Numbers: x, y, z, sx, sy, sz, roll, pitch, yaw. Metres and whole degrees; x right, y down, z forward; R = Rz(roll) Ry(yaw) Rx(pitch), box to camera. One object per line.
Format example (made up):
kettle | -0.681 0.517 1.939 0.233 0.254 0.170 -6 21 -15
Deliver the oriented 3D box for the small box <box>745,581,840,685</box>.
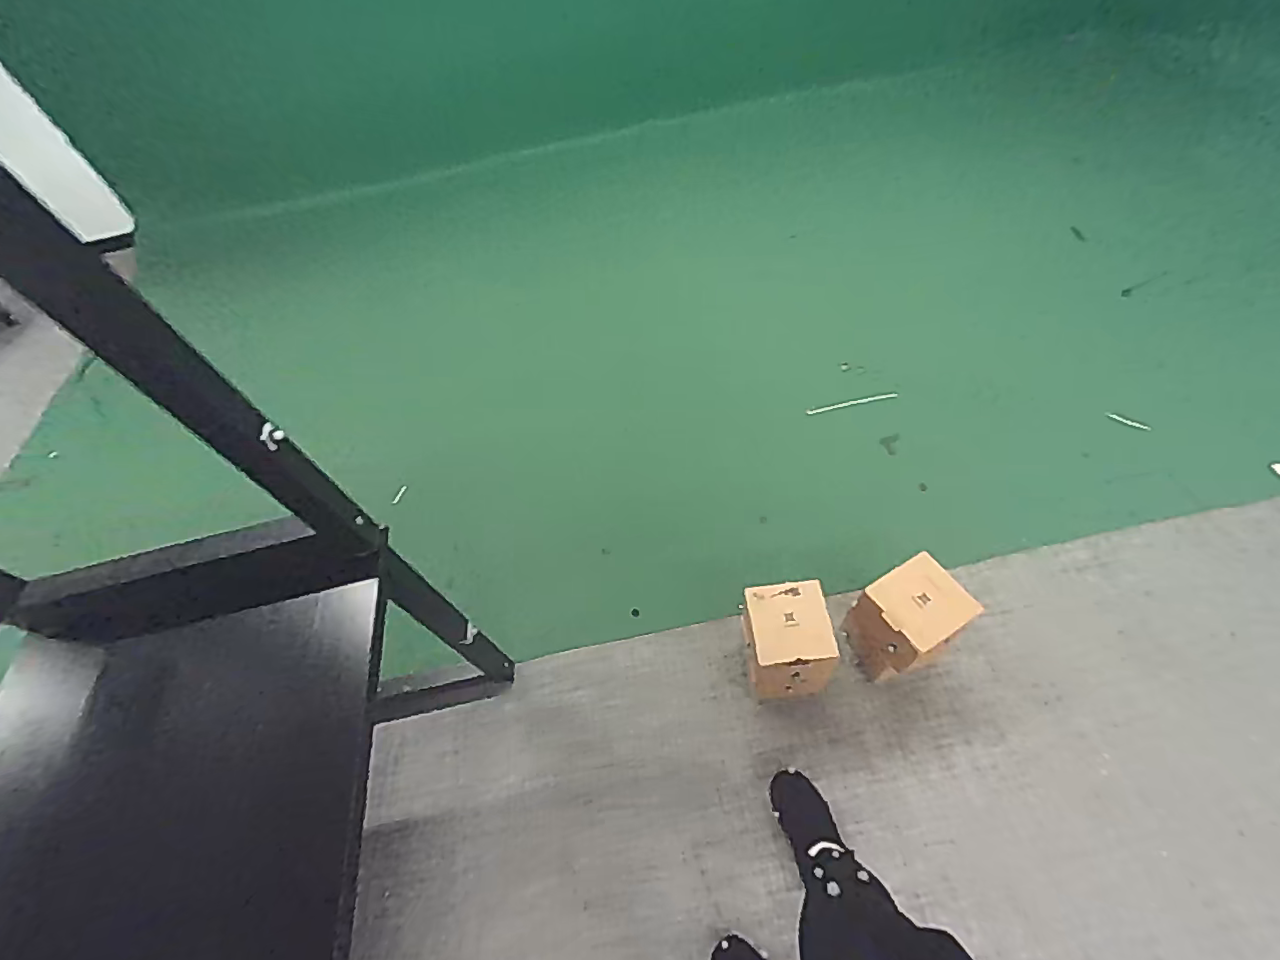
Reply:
small box | 0.330 0.345 1.198 0.168 0.176 0.179 -8 54 5

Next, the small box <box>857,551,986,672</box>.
small box | 0.604 0.295 1.190 0.179 0.176 0.168 -28 57 -12

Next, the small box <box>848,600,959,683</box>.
small box | 0.631 0.377 1.328 0.179 0.176 0.168 -18 55 -4
